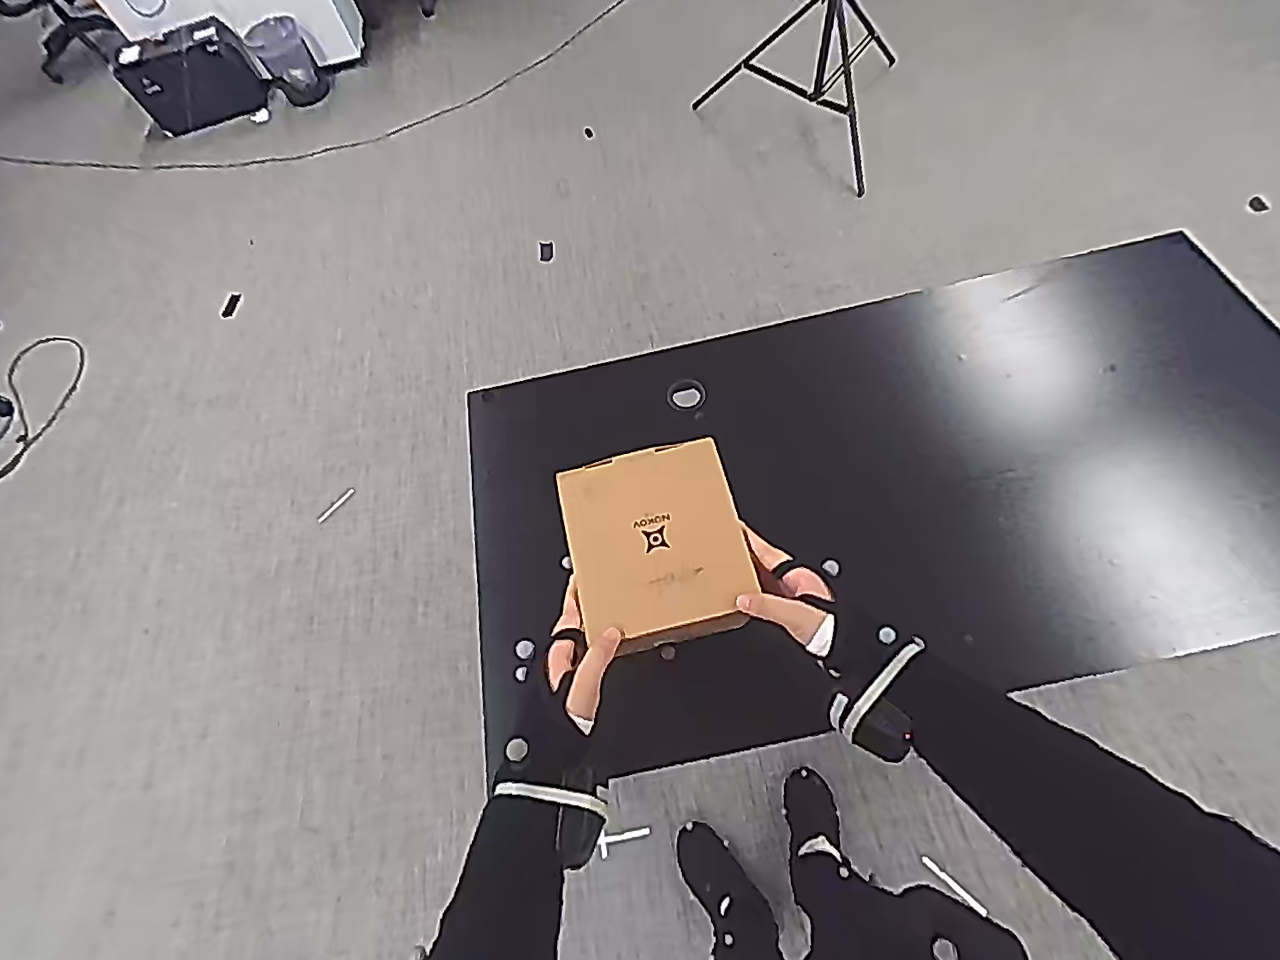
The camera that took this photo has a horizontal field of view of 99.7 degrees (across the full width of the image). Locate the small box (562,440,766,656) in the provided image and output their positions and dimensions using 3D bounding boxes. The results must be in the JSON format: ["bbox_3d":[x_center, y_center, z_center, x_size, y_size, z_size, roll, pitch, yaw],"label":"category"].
[{"bbox_3d":[0.022,0.083,0.591,0.168,0.176,0.179,-14,69,-1],"label":"small box"}]
